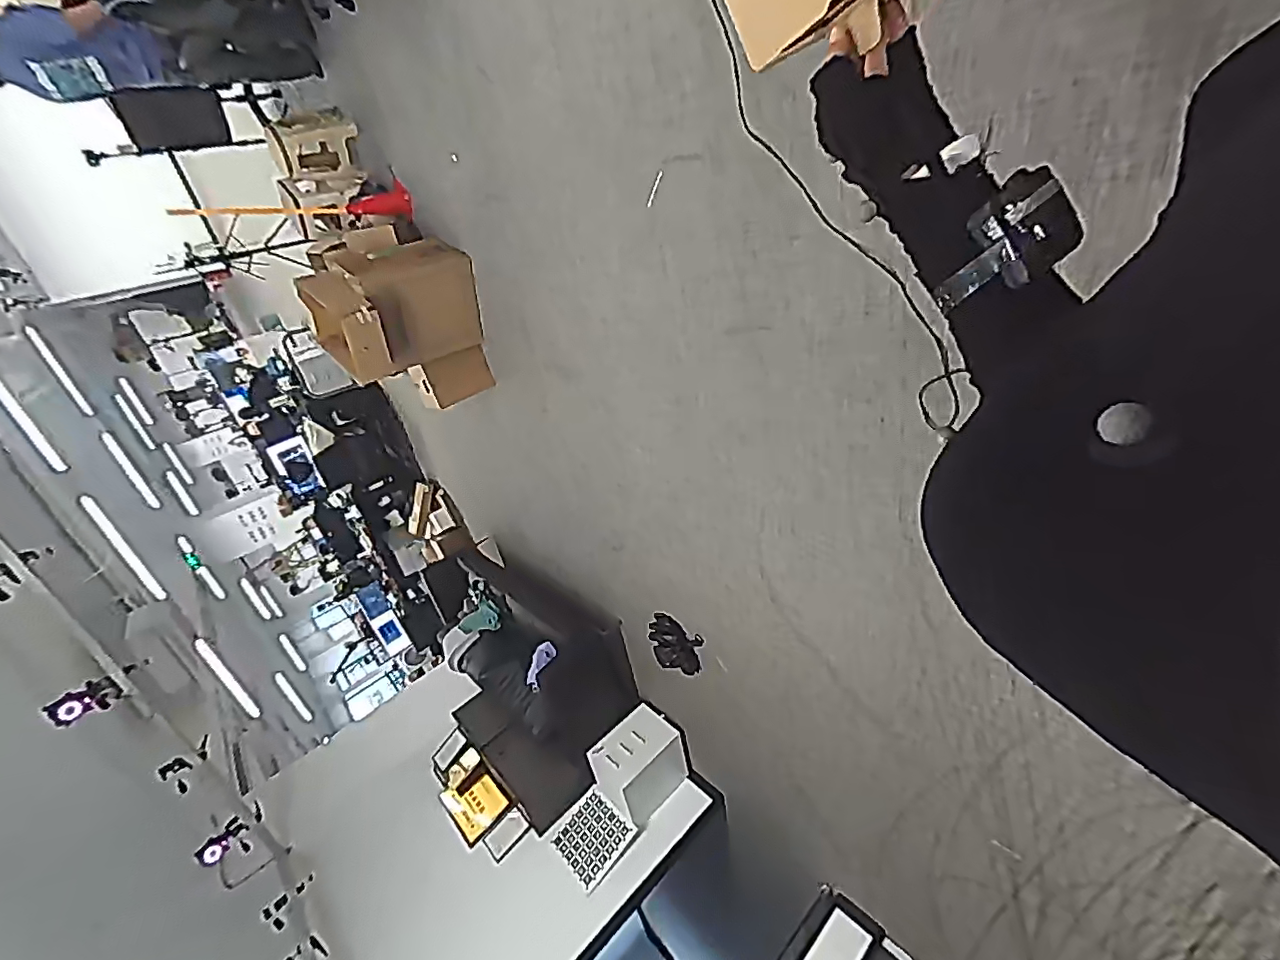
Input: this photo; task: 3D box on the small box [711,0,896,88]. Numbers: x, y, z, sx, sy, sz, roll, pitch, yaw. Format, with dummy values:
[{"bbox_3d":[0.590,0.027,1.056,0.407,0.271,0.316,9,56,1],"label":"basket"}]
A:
[{"bbox_3d":[0.149,-0.444,0.393,0.168,0.176,0.179,3,130,57],"label":"small box"}]
